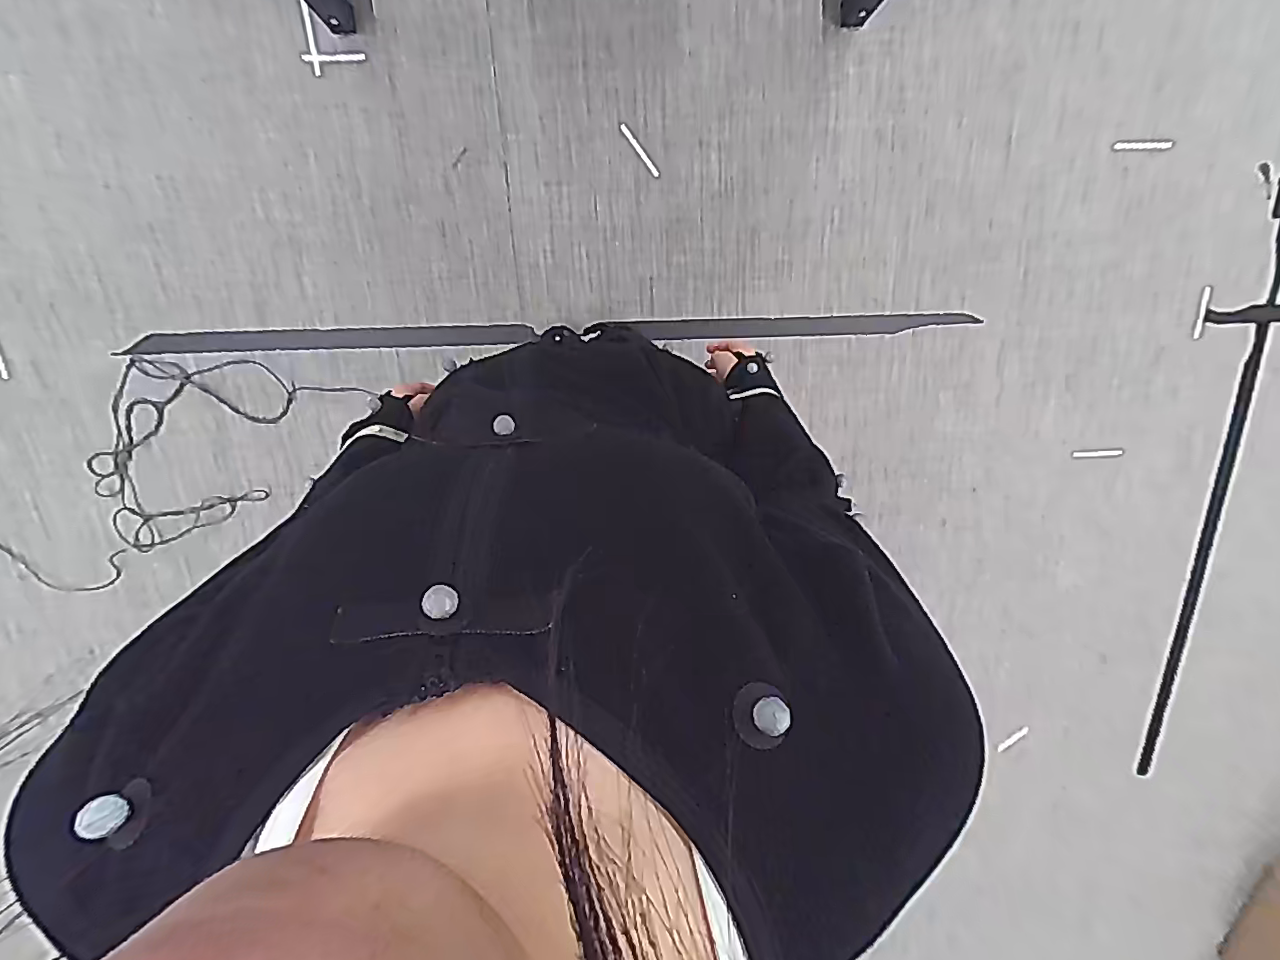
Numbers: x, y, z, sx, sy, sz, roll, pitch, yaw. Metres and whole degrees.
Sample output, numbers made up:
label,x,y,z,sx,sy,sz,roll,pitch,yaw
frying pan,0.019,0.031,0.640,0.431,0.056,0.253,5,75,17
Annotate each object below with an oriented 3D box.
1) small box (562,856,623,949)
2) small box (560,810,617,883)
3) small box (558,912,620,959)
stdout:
label,x,y,z,sx,sy,sz,roll,pitch,yaw
small box,-0.143,1.265,1.620,0.179,0.176,0.168,-1,105,-5
small box,-0.164,1.224,1.778,0.179,0.176,0.168,-4,106,-4
small box,-0.138,1.314,1.464,0.168,0.176,0.179,-2,105,-5
